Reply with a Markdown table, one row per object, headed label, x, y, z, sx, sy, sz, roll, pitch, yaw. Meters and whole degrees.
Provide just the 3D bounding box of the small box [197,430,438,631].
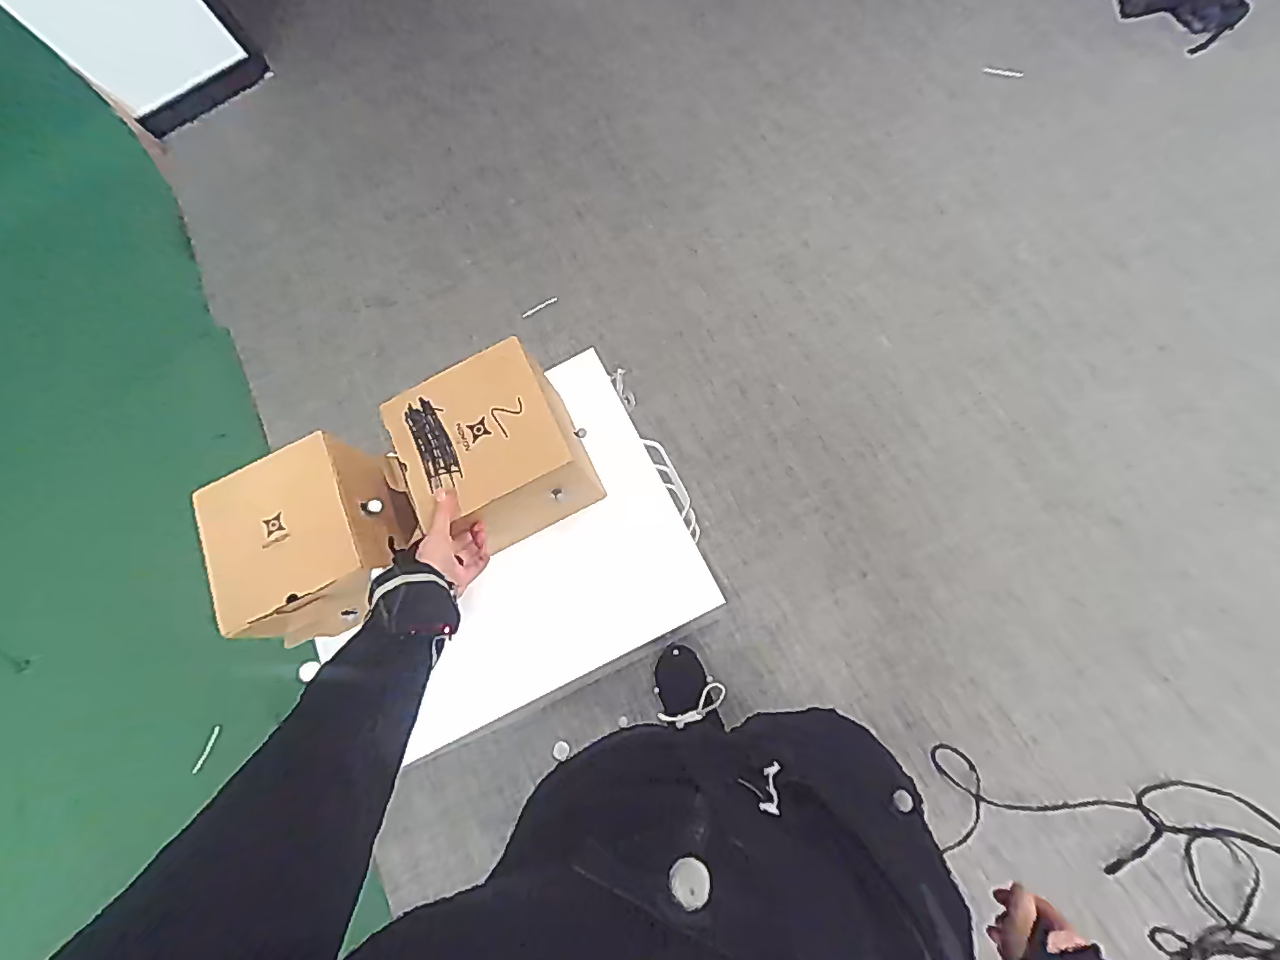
| label | x | y | z | sx | sy | sz | roll | pitch | yaw |
| --- | --- | --- | --- | --- | --- | --- | --- | --- | --- |
| small box | -0.378 | 0.072 | 0.656 | 0.168 | 0.176 | 0.179 | -26 | 73 | 0 |
